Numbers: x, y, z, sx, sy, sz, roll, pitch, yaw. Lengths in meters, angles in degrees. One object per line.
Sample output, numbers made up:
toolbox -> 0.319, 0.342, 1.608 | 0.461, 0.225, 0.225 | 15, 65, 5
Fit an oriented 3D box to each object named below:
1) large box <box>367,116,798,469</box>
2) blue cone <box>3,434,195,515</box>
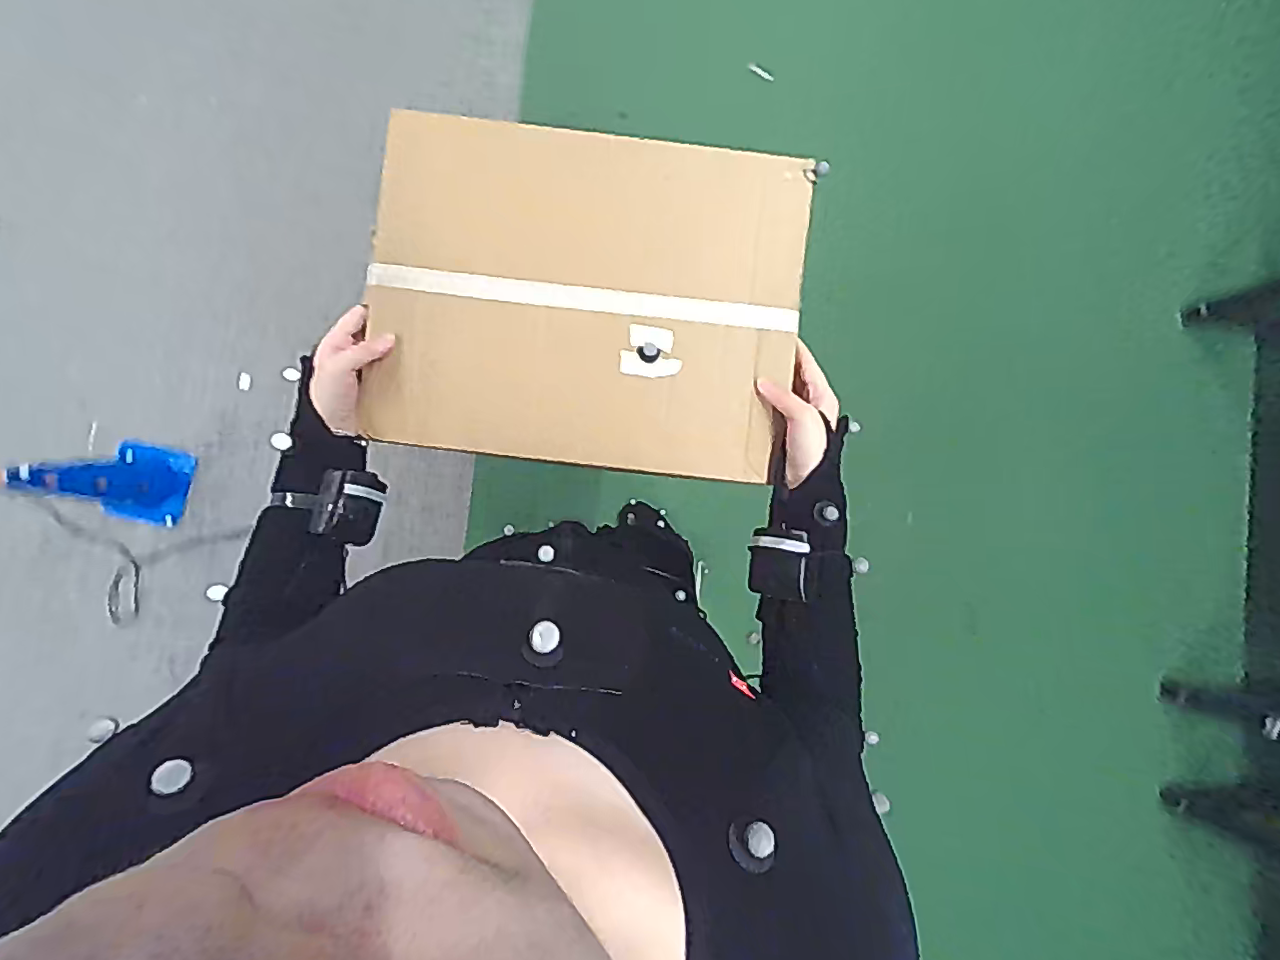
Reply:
large box -> -0.061, -0.181, 0.668 | 0.408, 0.320, 0.320 | 5, 91, -3
blue cone -> -1.275, -0.021, 1.257 | 0.192, 0.380, 0.193 | 16, 87, -4
